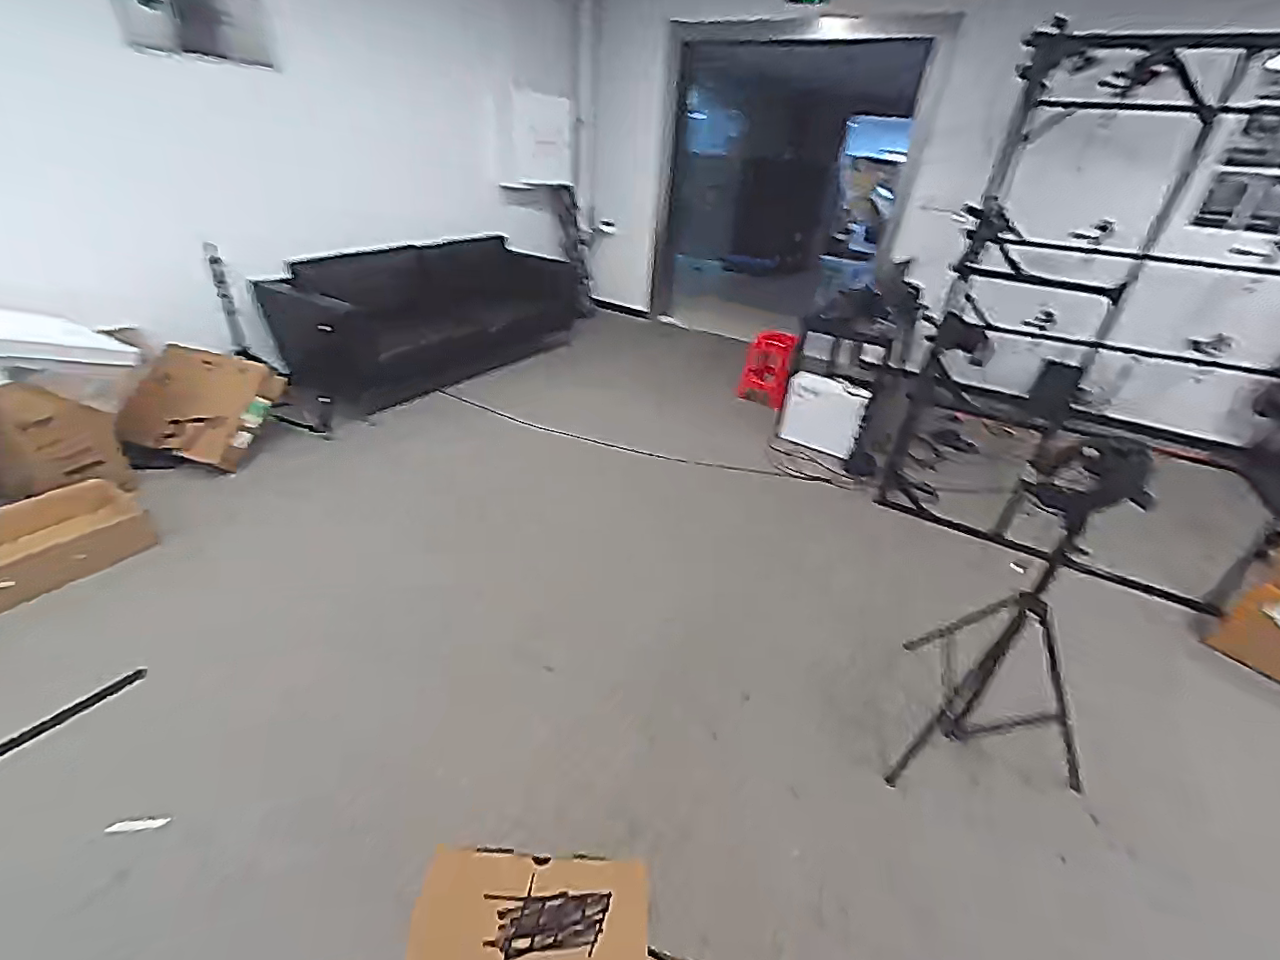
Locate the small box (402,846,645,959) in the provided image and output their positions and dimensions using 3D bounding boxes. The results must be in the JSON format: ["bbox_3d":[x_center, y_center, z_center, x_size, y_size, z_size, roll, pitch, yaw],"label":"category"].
[{"bbox_3d":[-0.090,0.399,0.395,0.168,0.176,0.179,7,40,-6],"label":"small box"}]
